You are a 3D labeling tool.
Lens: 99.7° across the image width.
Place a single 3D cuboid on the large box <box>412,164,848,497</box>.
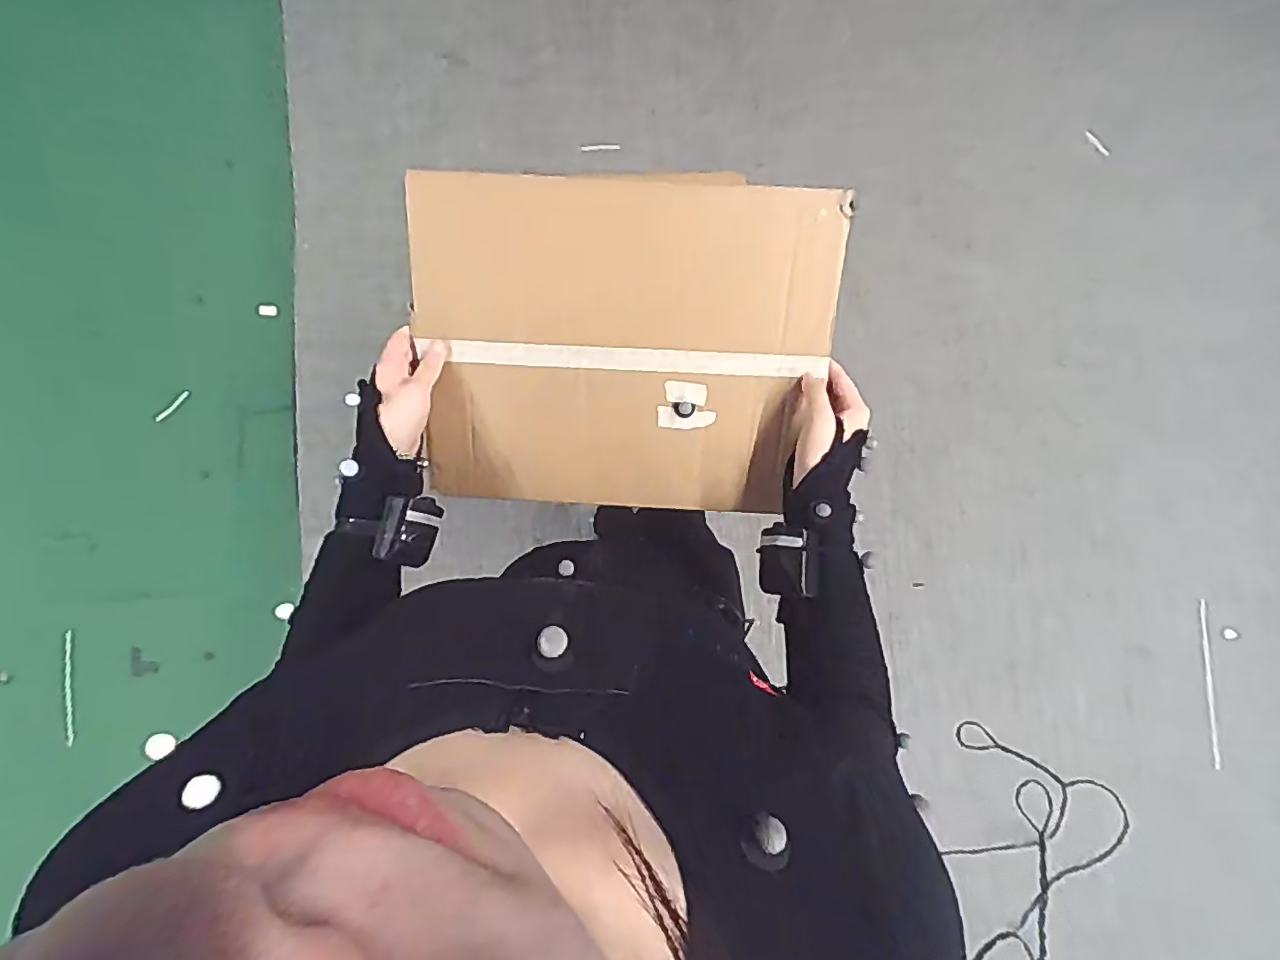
[{"bbox_3d":[-0.014,-0.177,0.673,0.408,0.320,0.320,2,109,-1],"label":"large box"}]
